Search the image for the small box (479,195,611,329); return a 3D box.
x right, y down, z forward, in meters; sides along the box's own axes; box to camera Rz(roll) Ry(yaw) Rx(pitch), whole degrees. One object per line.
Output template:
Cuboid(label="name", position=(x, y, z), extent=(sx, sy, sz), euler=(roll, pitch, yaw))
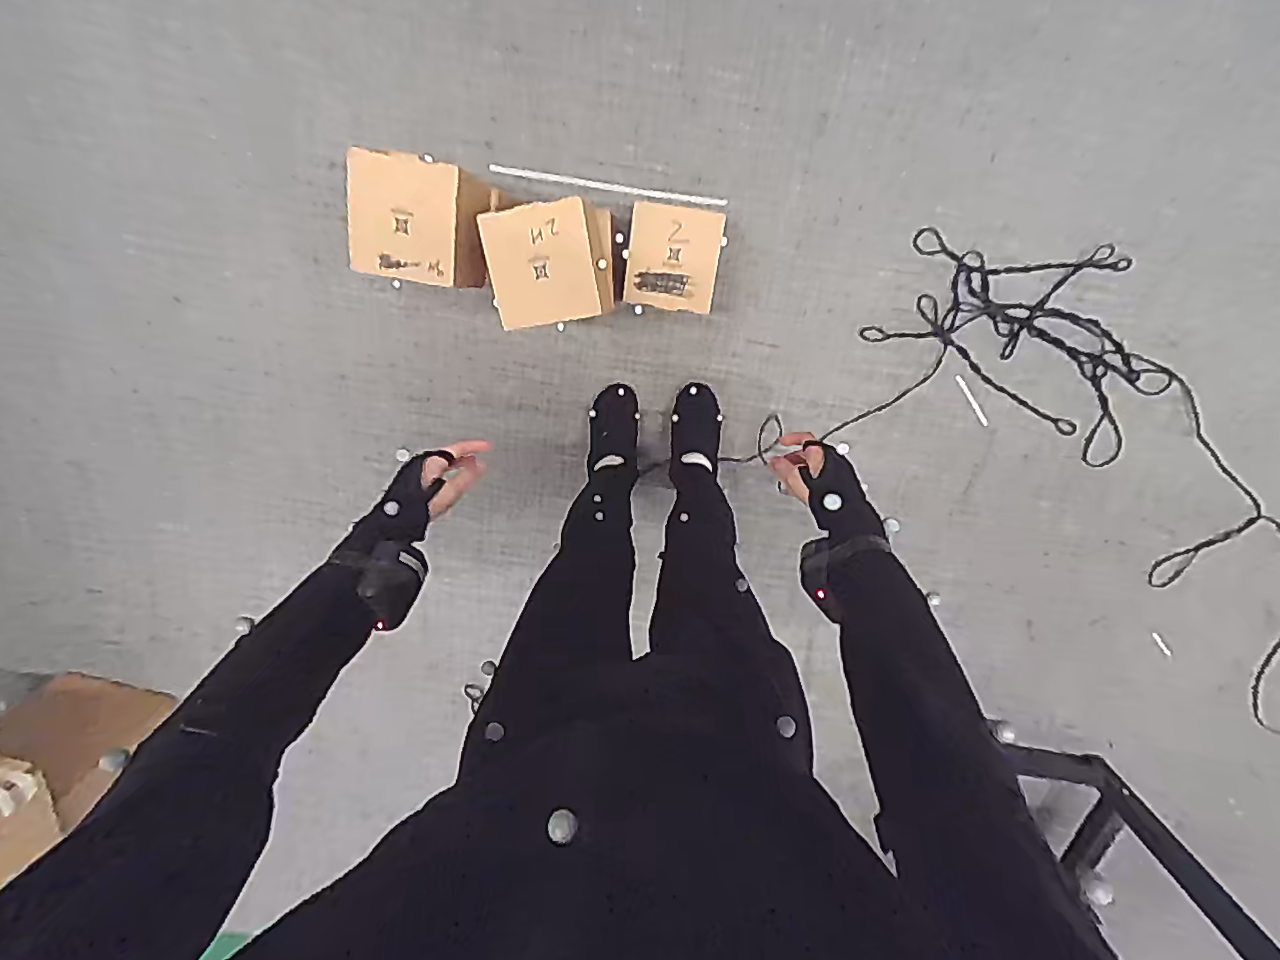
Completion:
Cuboid(label="small box", position=(-0.148, -0.361, 0.911), extent=(0.168, 0.176, 0.179), euler=(-8, 108, 6))

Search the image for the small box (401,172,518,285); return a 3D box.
Cuboid(label="small box", position=(-0.341, -0.479, 1.050), extent=(0.179, 0.176, 0.168), euler=(9, 109, 0))
